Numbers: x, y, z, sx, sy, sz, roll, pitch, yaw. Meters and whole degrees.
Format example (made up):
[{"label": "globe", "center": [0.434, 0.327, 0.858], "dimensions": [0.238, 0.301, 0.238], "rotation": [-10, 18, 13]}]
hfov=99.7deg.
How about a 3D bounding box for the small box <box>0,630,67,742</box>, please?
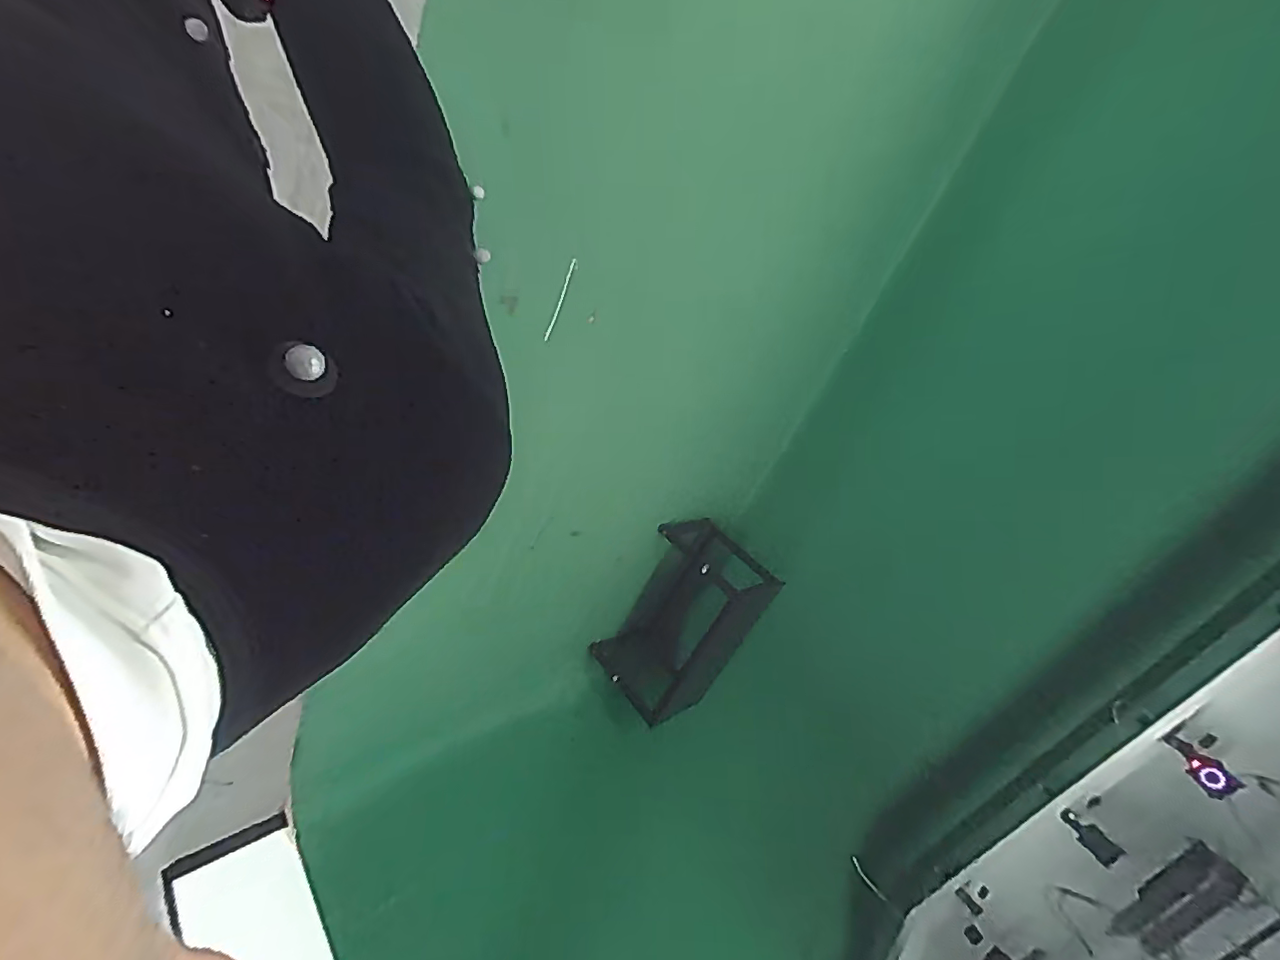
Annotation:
[{"label": "small box", "center": [-1.458, 0.482, 1.258], "dimensions": [0.168, 0.176, 0.179], "rotation": [-3, 128, -48]}]
